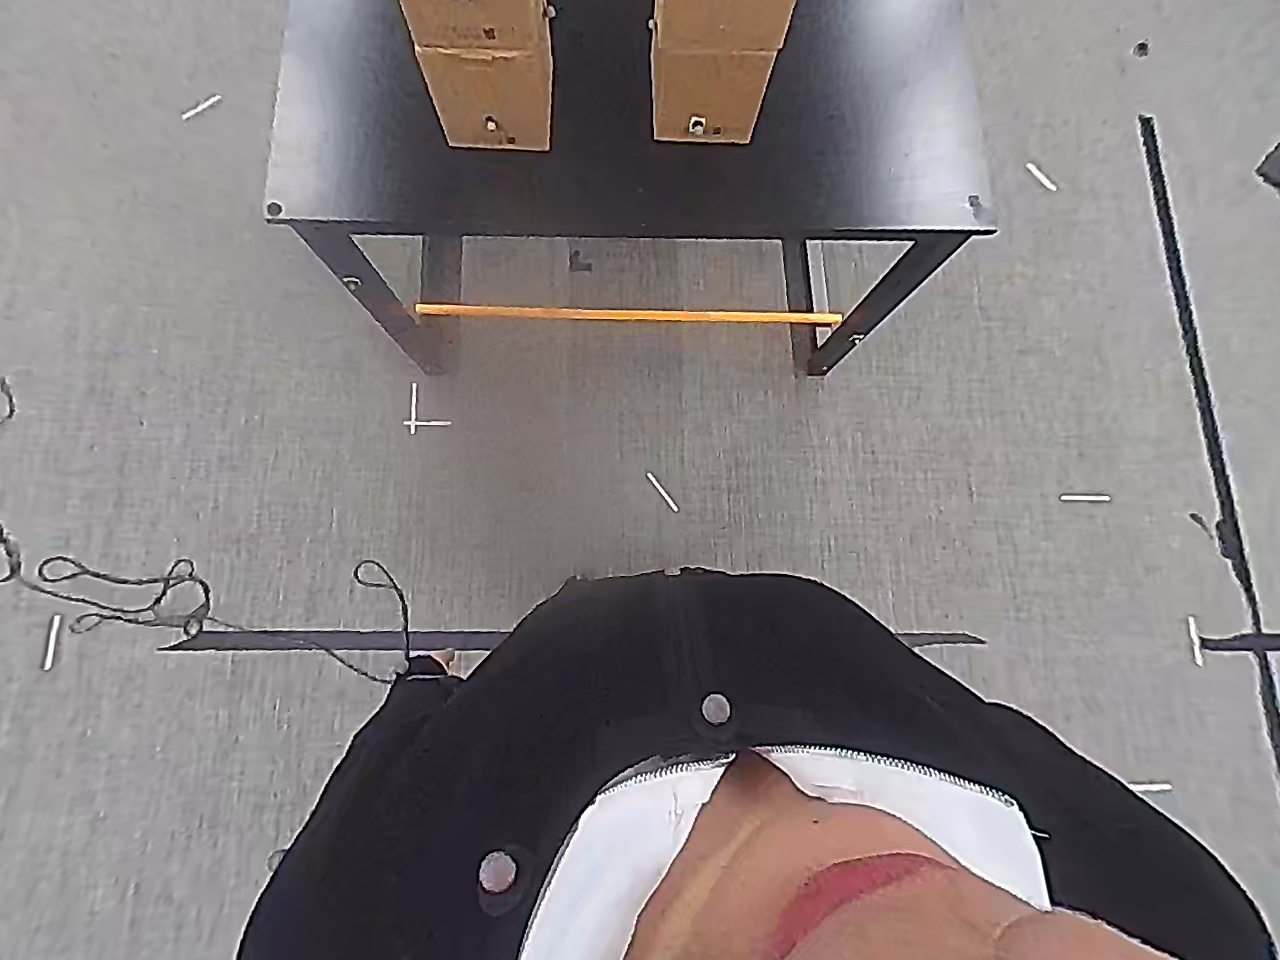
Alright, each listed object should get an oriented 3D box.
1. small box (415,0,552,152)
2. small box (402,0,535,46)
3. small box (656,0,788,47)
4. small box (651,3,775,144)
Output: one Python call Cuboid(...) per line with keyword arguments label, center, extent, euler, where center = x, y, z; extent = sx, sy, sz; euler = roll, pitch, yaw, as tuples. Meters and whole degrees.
Cuboid(label="small box", center=(-0.230, -0.651, 0.835), extent=(0.168, 0.176, 0.179), euler=(1, 80, -2))
Cuboid(label="small box", center=(-0.224, -0.689, 0.676), extent=(0.168, 0.176, 0.179), euler=(-2, 80, -3))
Cuboid(label="small box", center=(0.109, -0.702, 0.697), extent=(0.179, 0.176, 0.168), euler=(-3, 80, -3))
Cuboid(label="small box", center=(0.106, -0.676, 0.860), extent=(0.168, 0.176, 0.179), euler=(-2, 80, -2))
